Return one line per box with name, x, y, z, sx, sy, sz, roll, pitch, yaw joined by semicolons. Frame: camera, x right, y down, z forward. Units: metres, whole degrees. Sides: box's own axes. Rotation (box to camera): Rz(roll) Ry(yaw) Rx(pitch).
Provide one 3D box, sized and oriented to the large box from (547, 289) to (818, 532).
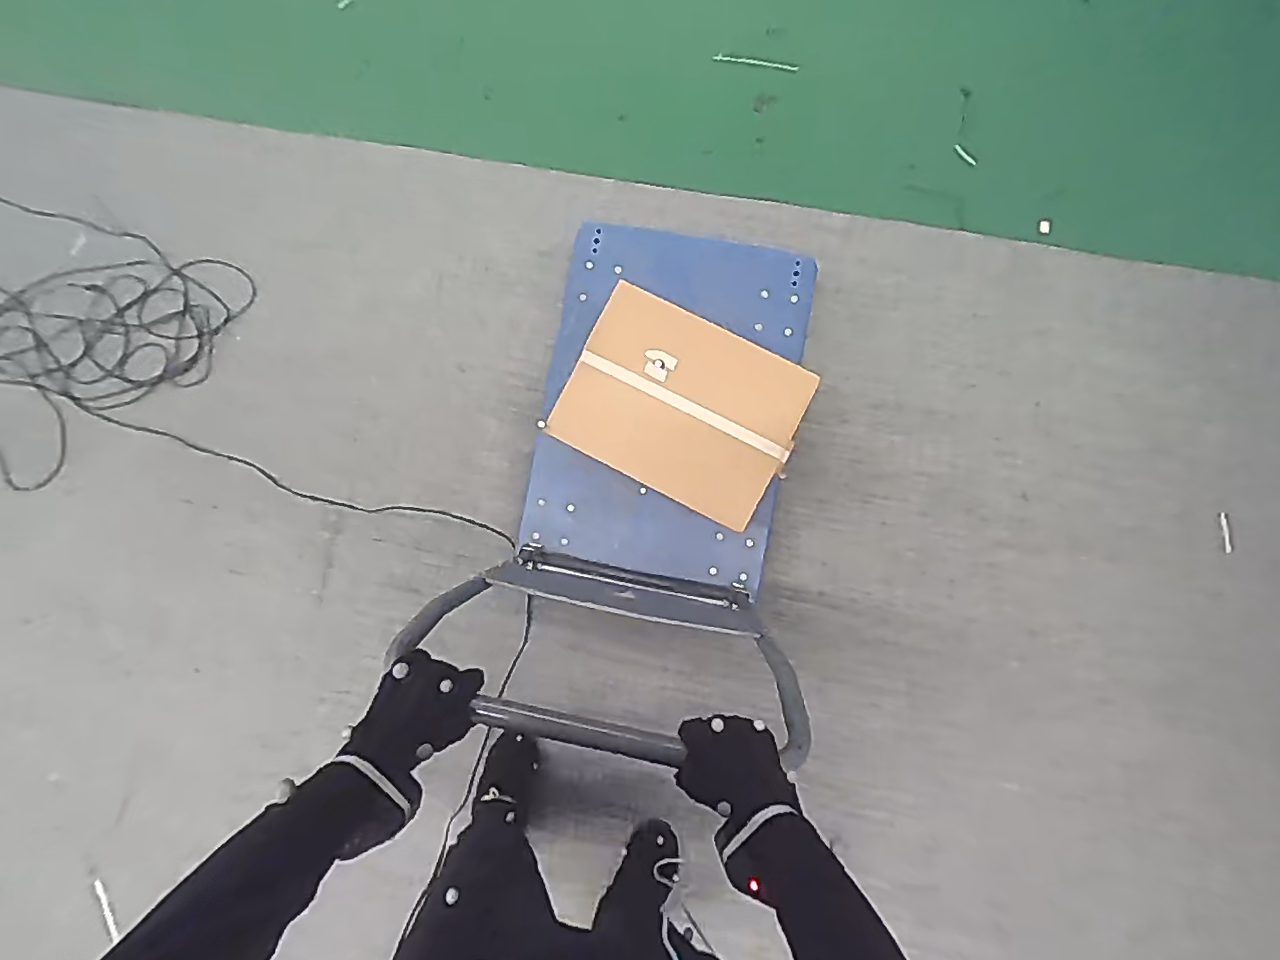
large box;0.086;-0.122;1.109;0.408;0.320;0.320;27;89;6
